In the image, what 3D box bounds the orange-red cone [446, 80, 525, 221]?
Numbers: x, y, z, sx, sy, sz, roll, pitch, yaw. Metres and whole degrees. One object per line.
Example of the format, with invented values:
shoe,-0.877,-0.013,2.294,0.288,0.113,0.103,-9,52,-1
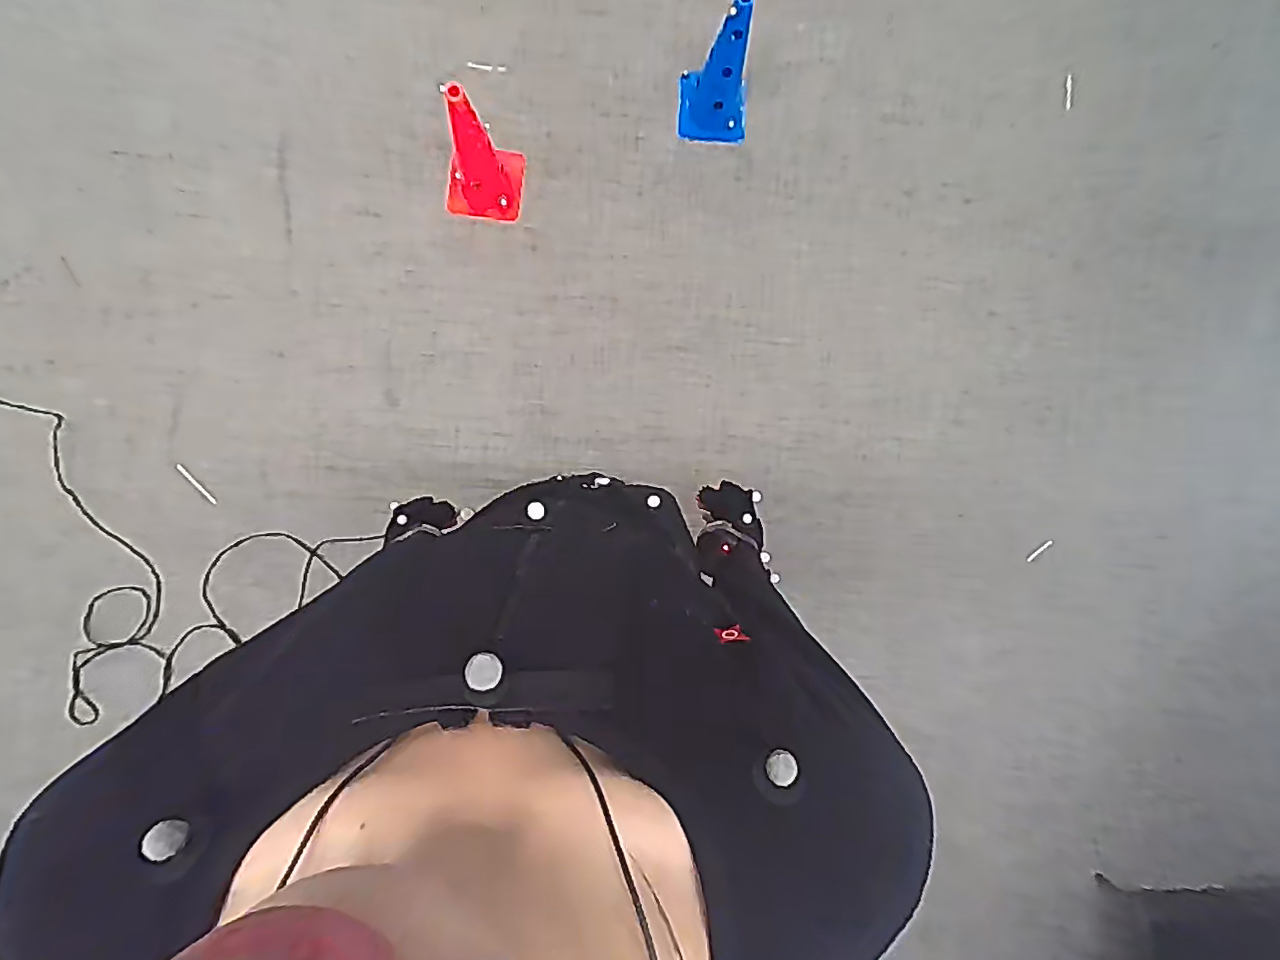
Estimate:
orange-red cone,-0.411,-0.836,1.330,0.198,0.360,0.199,8,87,-5
